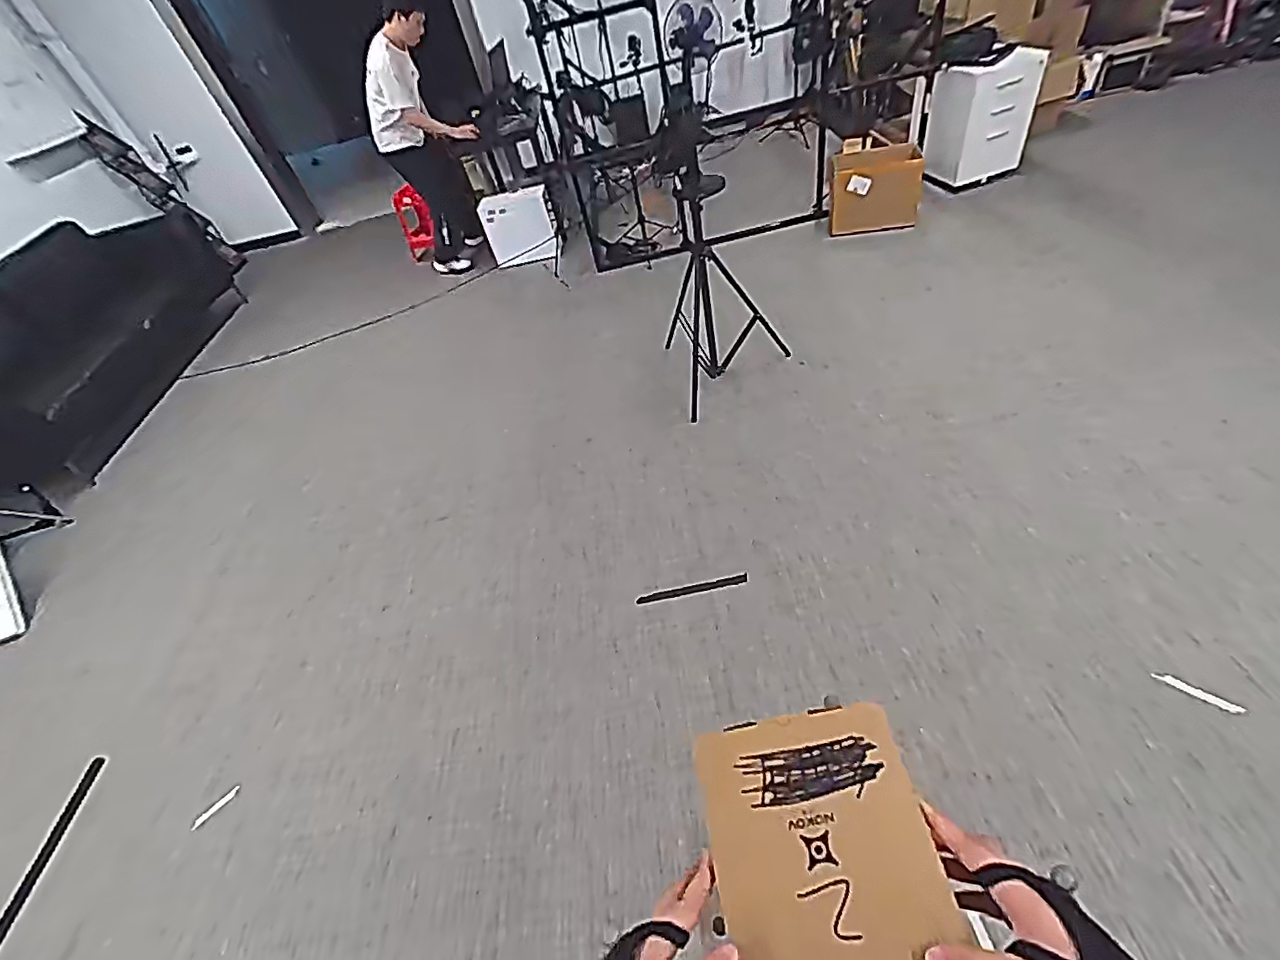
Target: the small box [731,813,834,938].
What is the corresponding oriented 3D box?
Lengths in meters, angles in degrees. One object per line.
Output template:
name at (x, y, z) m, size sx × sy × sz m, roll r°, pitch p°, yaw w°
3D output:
small box at (0.293, 0.834, 1.138) m, size 0.168 × 0.176 × 0.179 m, roll -13°, pitch 45°, yaw 3°
